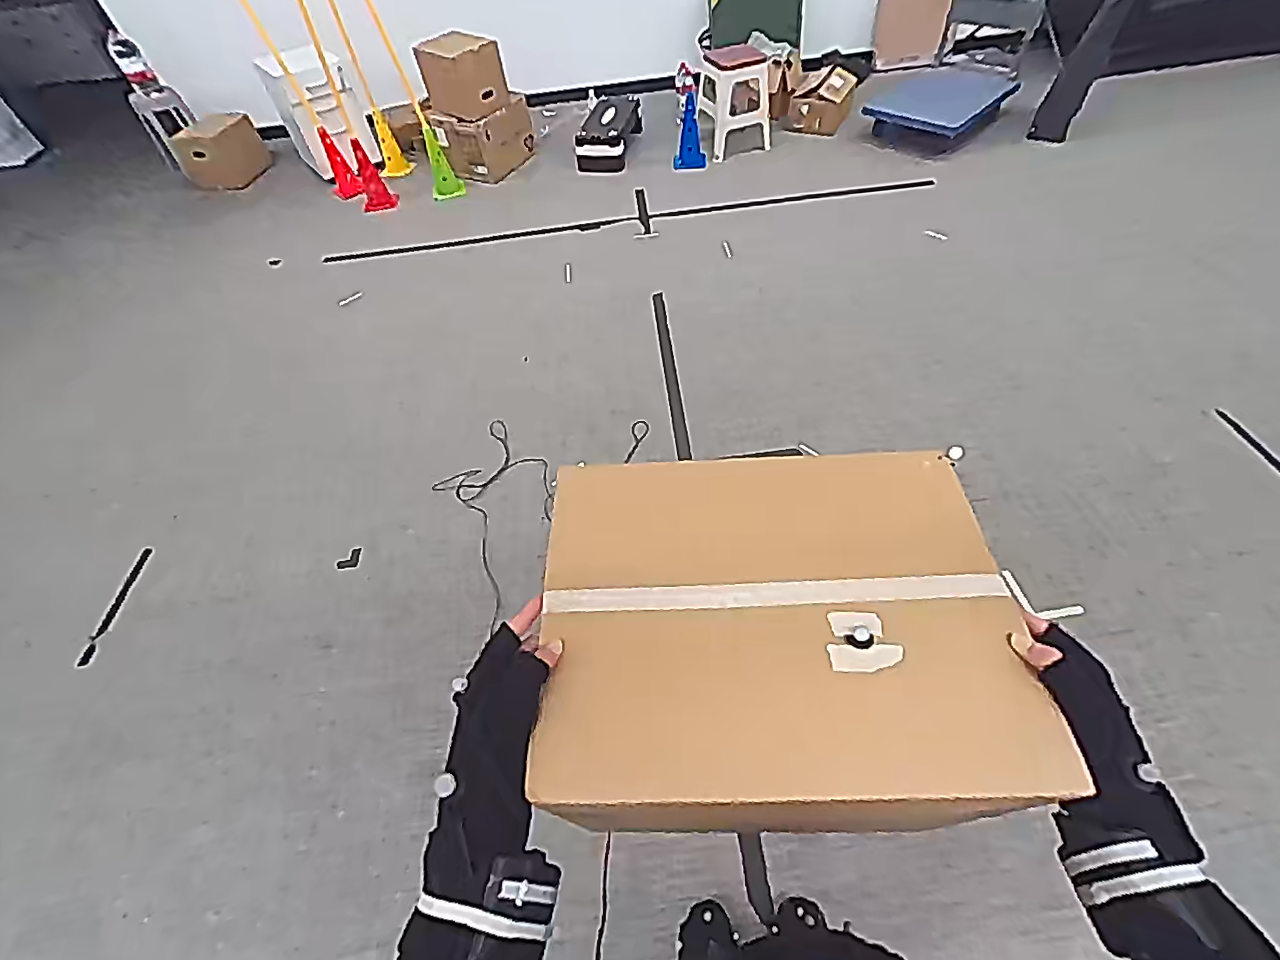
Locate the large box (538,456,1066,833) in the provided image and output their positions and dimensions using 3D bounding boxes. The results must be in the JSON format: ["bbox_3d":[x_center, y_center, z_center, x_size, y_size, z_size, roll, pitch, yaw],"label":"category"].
[{"bbox_3d":[0.123,0.197,0.611,0.408,0.320,0.320,-3,53,3],"label":"large box"}]
